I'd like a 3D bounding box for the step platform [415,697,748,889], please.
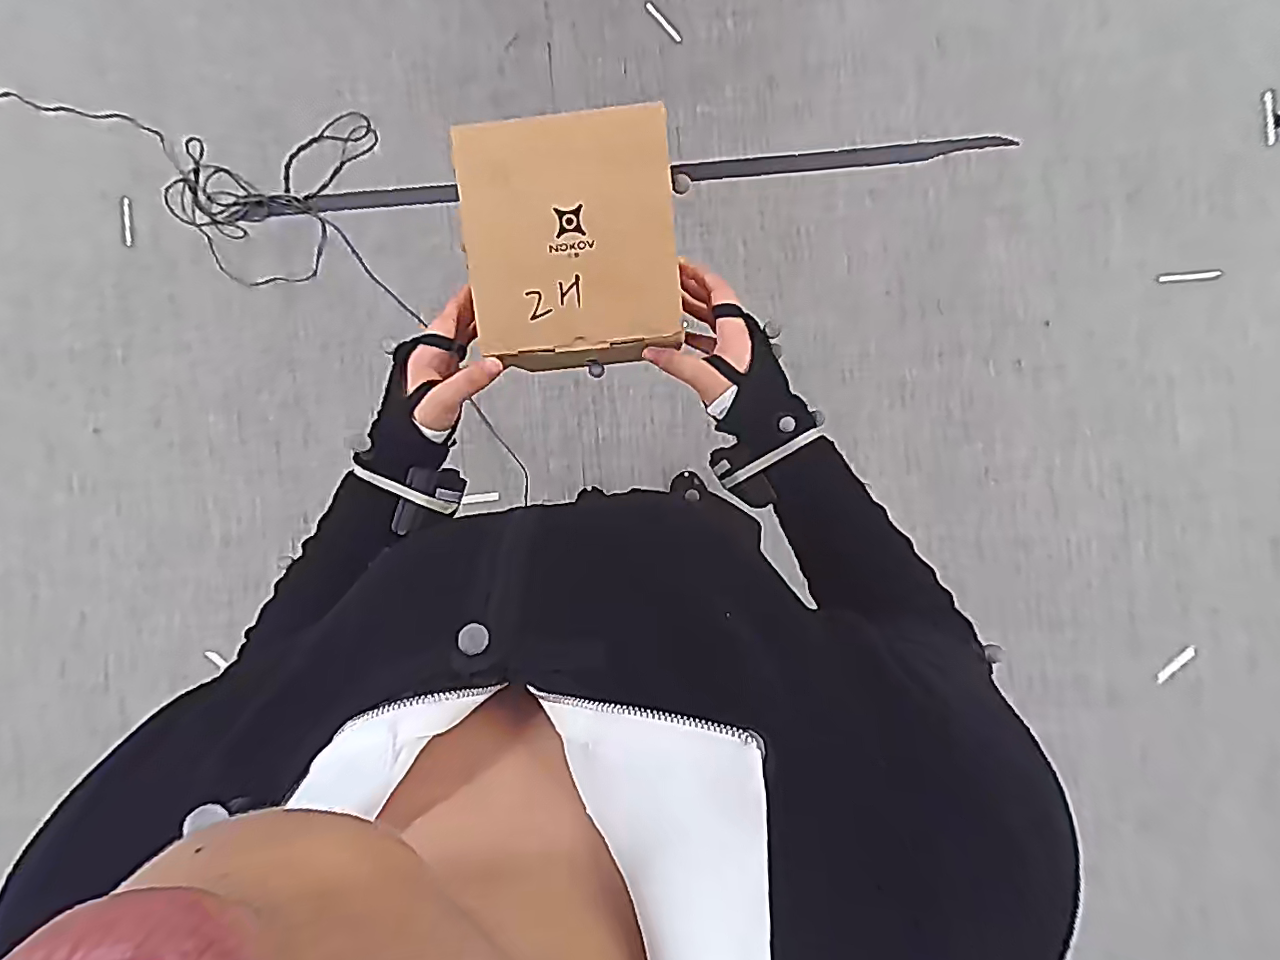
[{"bbox_3d":[-0.119,0.674,1.195,0.684,0.204,0.286,-6,91,3],"label":"step platform"}]
